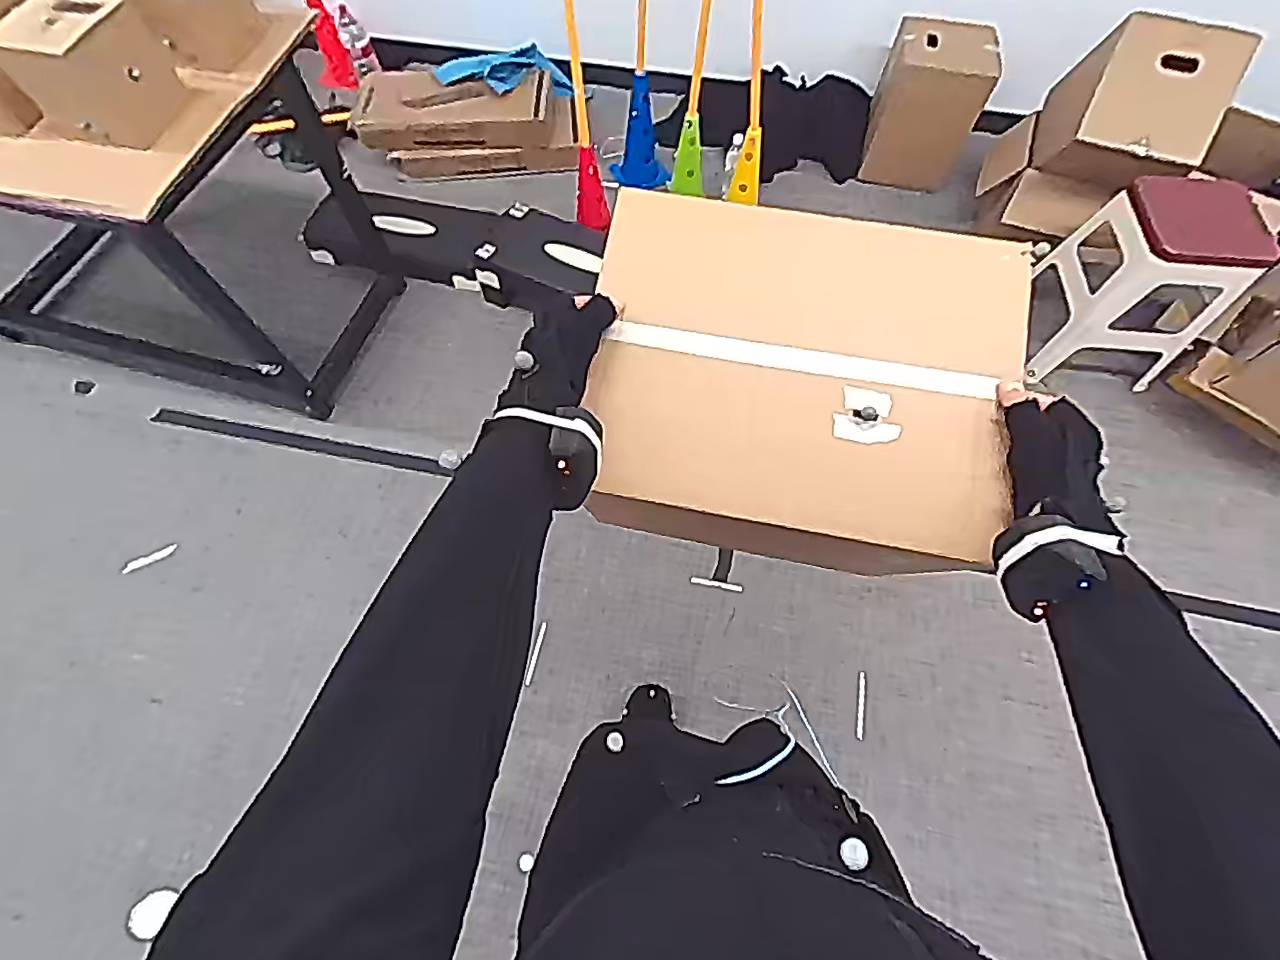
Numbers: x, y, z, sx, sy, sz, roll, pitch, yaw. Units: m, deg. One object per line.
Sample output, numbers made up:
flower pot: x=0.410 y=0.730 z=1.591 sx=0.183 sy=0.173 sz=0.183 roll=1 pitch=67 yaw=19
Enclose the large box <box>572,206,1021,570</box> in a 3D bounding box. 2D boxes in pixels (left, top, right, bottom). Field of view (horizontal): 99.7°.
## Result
large box: x=0.161 y=-0.080 z=0.670 sx=0.408 sy=0.320 sz=0.320 roll=11 pitch=80 yaw=5
